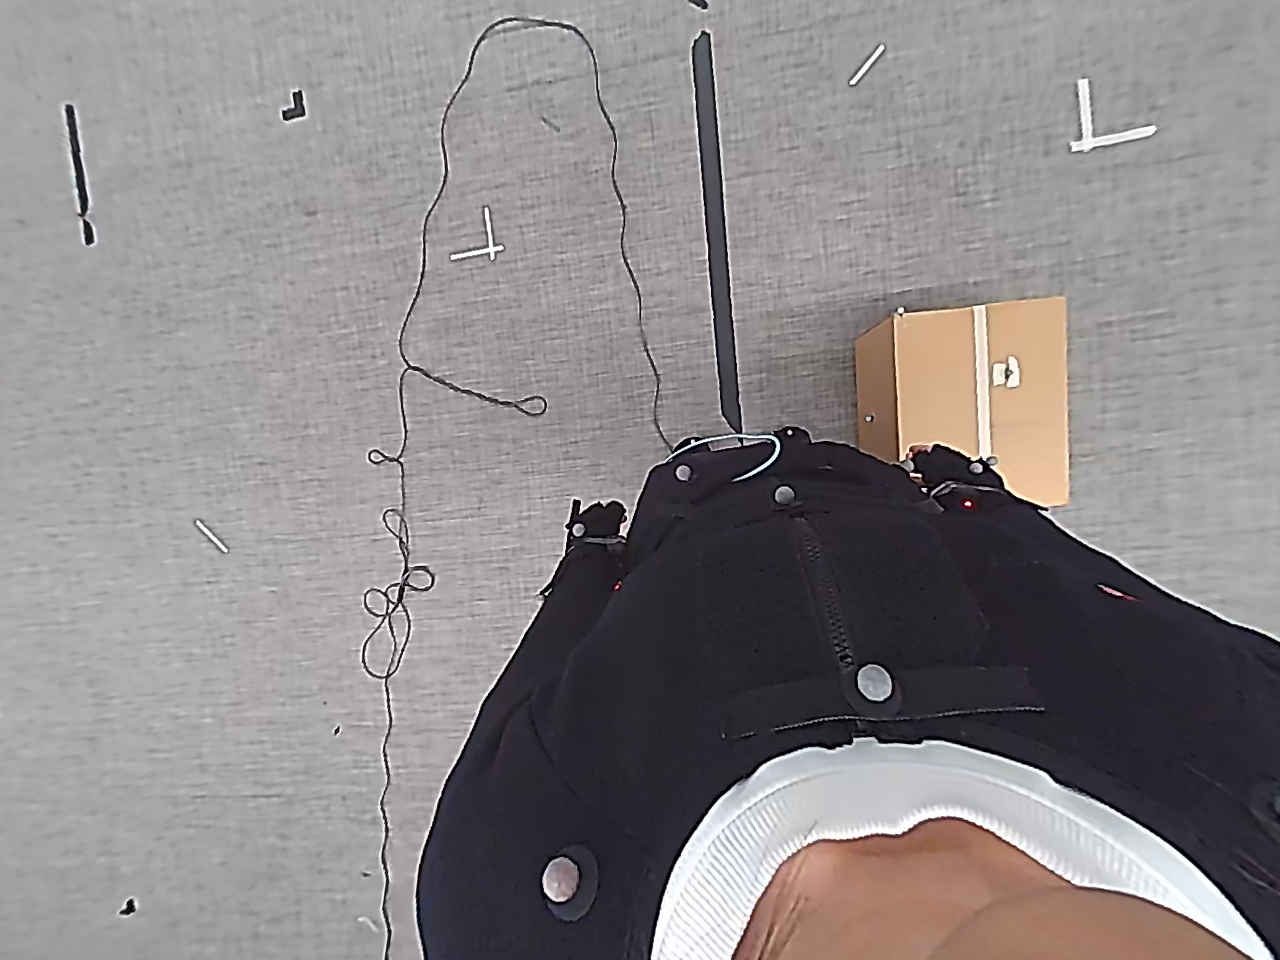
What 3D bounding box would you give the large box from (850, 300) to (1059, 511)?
[{"bbox_3d":[0.685,-0.153,1.232,0.320,0.320,0.408,-4,93,7],"label":"large box"}]
